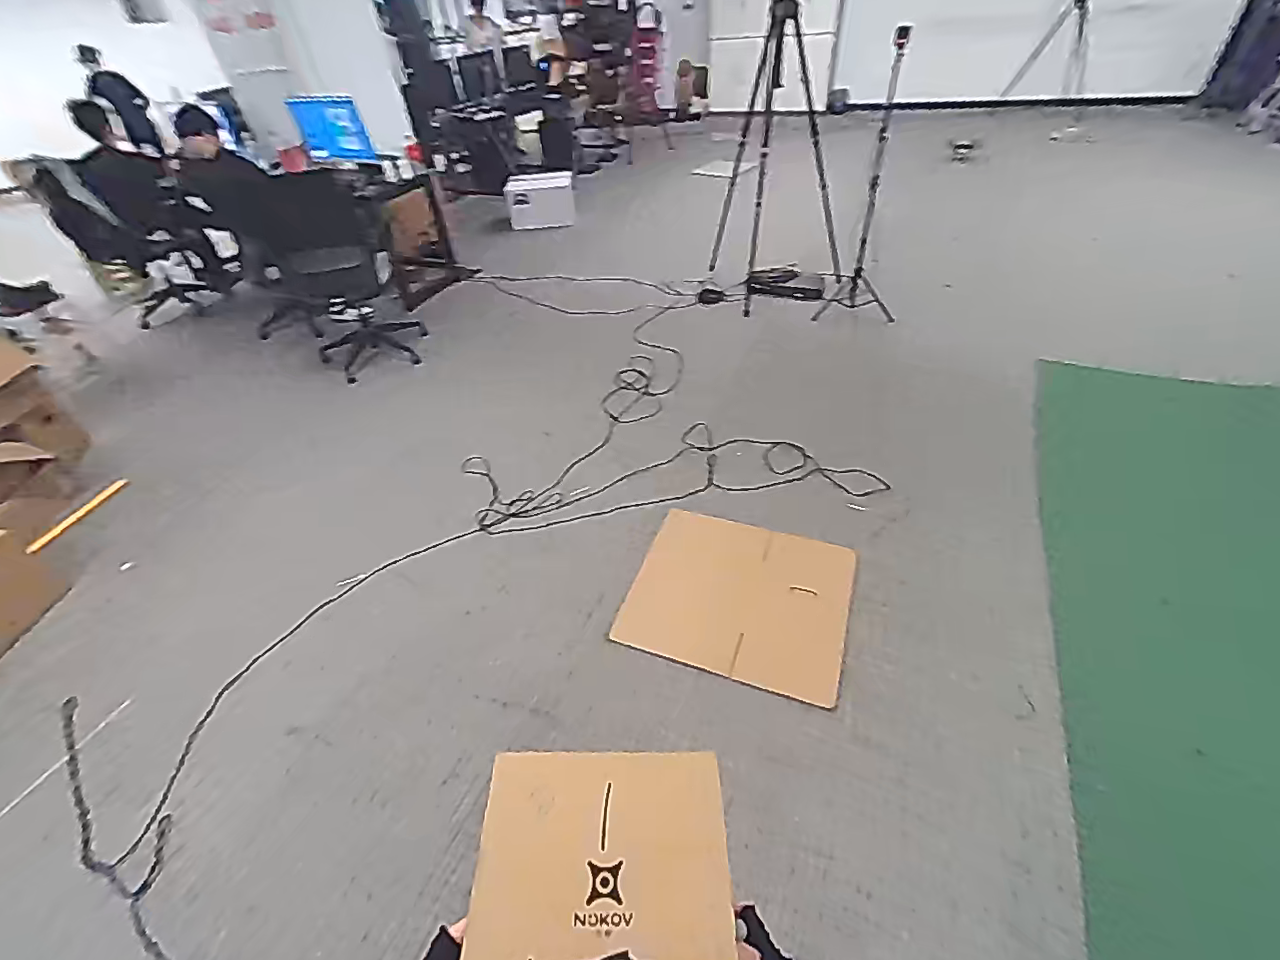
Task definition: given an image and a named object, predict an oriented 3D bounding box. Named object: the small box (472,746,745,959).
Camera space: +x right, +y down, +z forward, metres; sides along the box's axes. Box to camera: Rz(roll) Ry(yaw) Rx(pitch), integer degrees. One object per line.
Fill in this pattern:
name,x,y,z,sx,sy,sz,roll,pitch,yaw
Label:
small box,-0.020,0.318,0.399,0.168,0.176,0.179,2,45,-2
